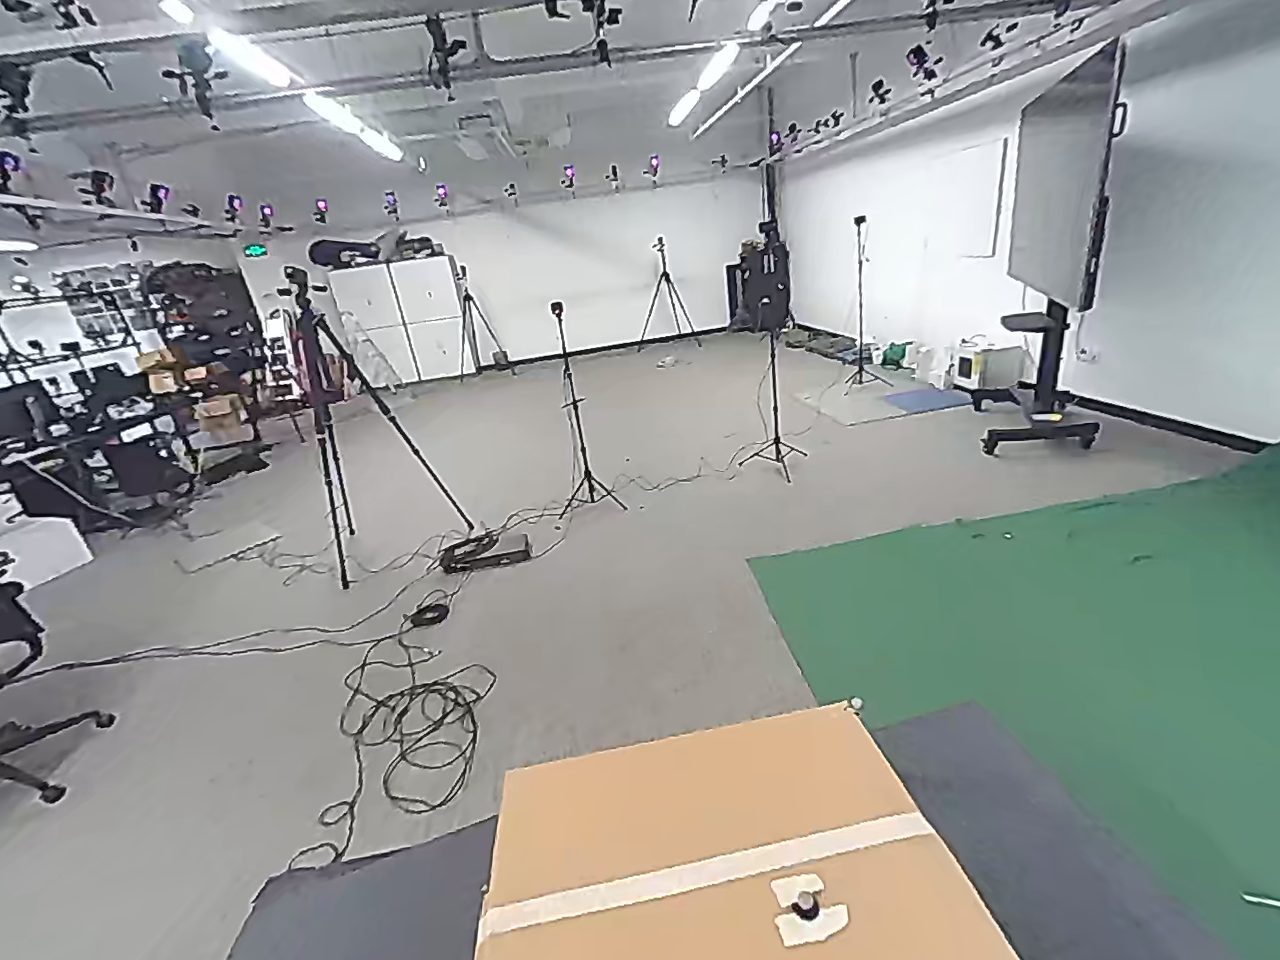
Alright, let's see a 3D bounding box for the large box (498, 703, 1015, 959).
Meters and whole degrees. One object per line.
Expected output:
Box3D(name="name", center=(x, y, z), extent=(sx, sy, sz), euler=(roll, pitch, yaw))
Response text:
Box3D(name="large box", center=(0.090, 0.491, 0.546), extent=(0.408, 0.320, 0.320), euler=(-10, 22, -4))
